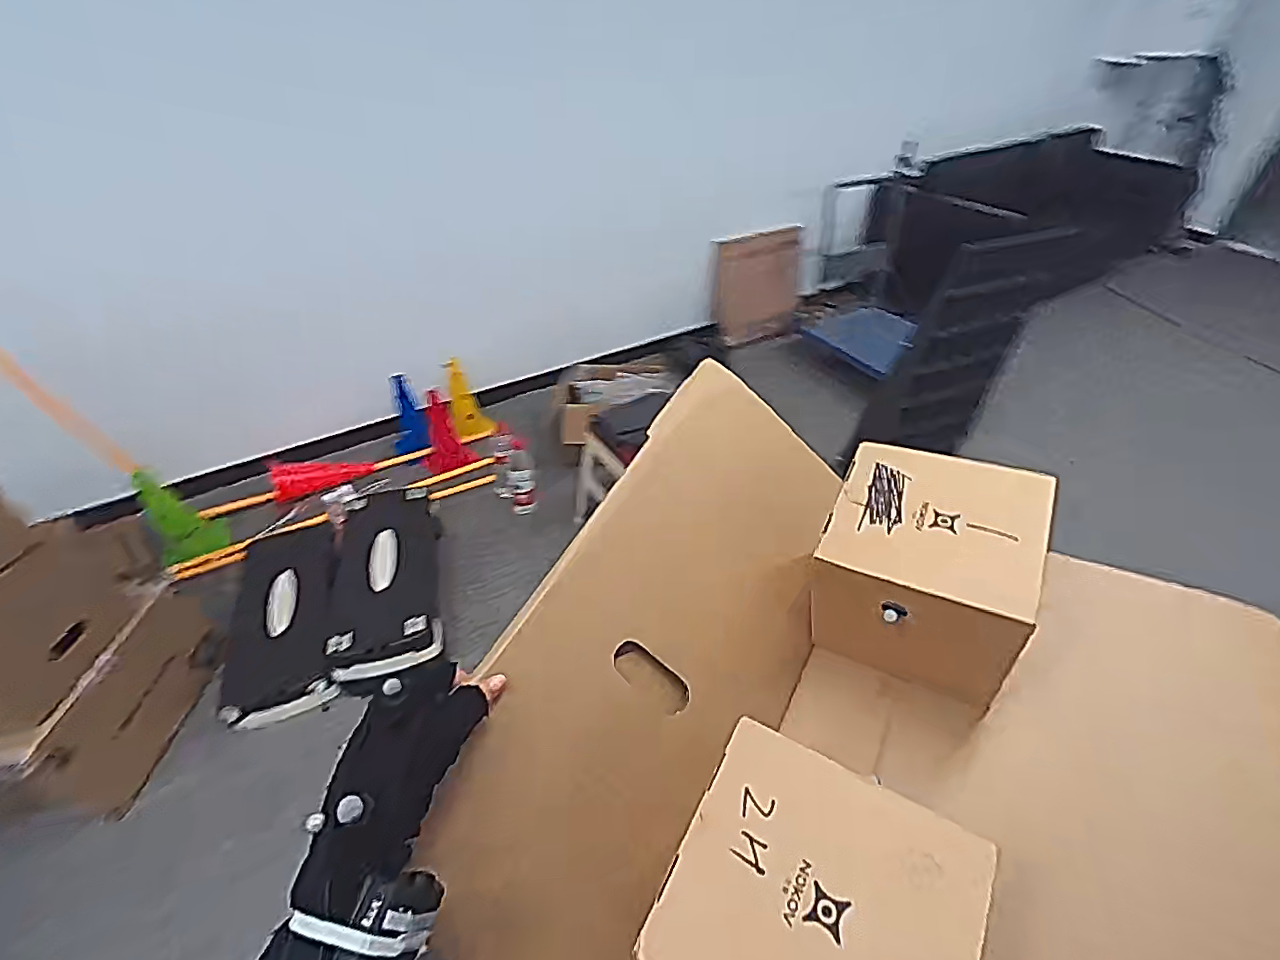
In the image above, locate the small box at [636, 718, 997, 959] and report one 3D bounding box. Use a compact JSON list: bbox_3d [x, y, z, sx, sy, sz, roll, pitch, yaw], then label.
[{"bbox_3d":[0.128,0.318,0.398,0.179,0.176,0.168,18,55,33],"label":"small box"}]
